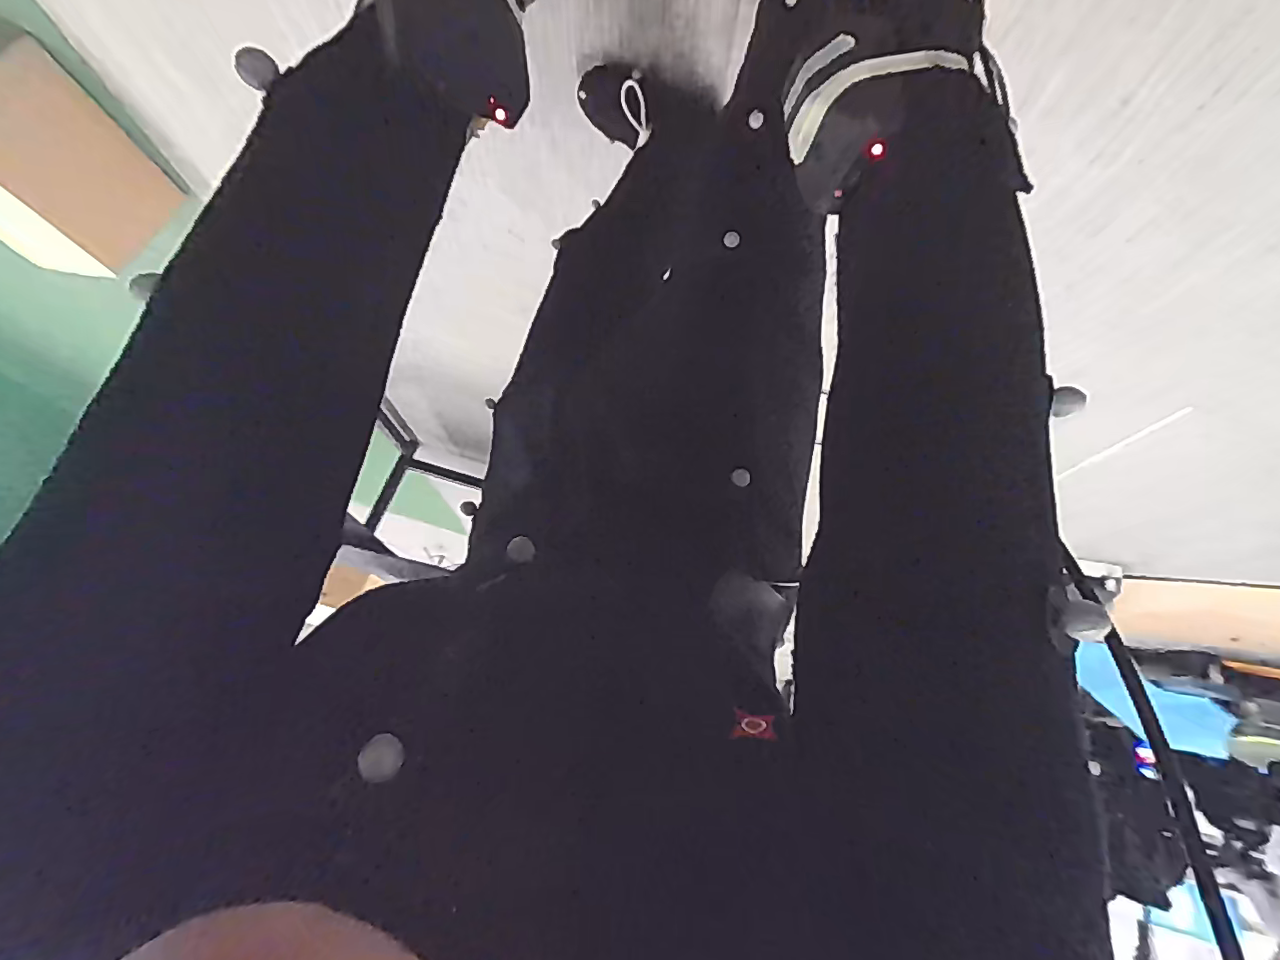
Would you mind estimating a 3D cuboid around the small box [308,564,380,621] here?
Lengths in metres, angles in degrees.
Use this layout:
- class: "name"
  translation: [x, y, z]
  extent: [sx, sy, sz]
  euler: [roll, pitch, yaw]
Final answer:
- class: "small box"
  translation: [-1.156, 0.444, 2.134]
  extent: [0.179, 0.176, 0.168]
  euler: [17, 158, 2]
